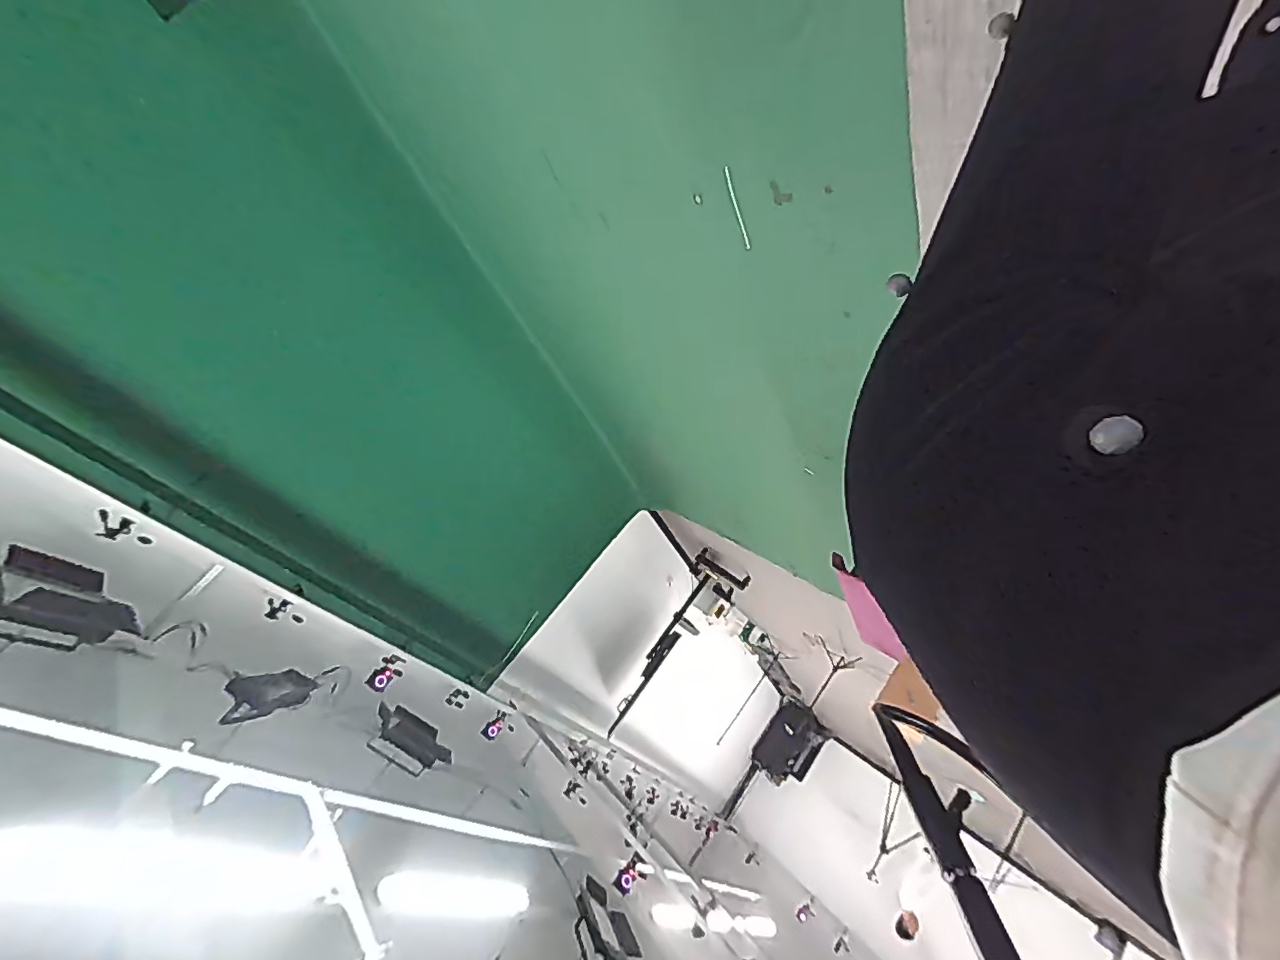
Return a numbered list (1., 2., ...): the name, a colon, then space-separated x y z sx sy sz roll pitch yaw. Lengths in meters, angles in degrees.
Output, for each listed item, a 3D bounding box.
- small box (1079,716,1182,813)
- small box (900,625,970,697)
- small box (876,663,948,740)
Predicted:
1. small box: 1.411 0.812 1.563 0.179 0.176 0.168 22 157 47
2. small box: 1.054 0.652 1.943 0.179 0.176 0.168 30 162 33
3. small box: 0.954 0.774 1.900 0.179 0.176 0.168 27 160 35
